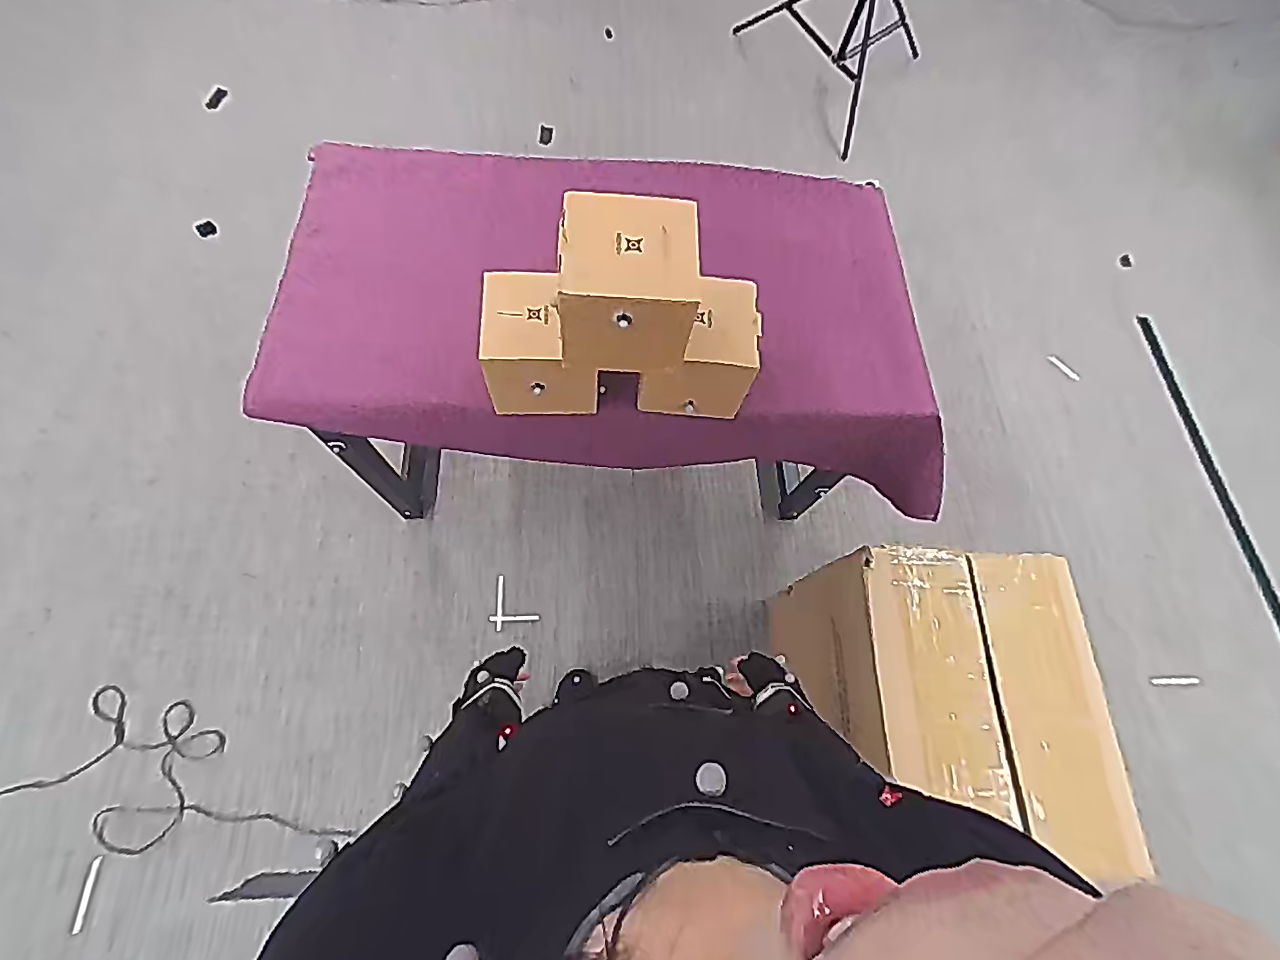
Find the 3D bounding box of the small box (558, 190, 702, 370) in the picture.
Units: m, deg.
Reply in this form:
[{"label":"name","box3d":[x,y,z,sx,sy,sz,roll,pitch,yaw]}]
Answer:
[{"label":"small box","box3d":[-0.017,-0.267,0.749,0.179,0.176,0.168,2,69,-5]}]

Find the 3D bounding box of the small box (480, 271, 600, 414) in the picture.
[{"label":"small box","box3d":[-0.155,-0.220,0.893,0.179,0.176,0.168,-1,67,-4]}]

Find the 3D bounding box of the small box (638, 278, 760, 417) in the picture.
[{"label":"small box","box3d":[0.095,-0.221,0.918,0.179,0.176,0.168,4,67,-3]}]
